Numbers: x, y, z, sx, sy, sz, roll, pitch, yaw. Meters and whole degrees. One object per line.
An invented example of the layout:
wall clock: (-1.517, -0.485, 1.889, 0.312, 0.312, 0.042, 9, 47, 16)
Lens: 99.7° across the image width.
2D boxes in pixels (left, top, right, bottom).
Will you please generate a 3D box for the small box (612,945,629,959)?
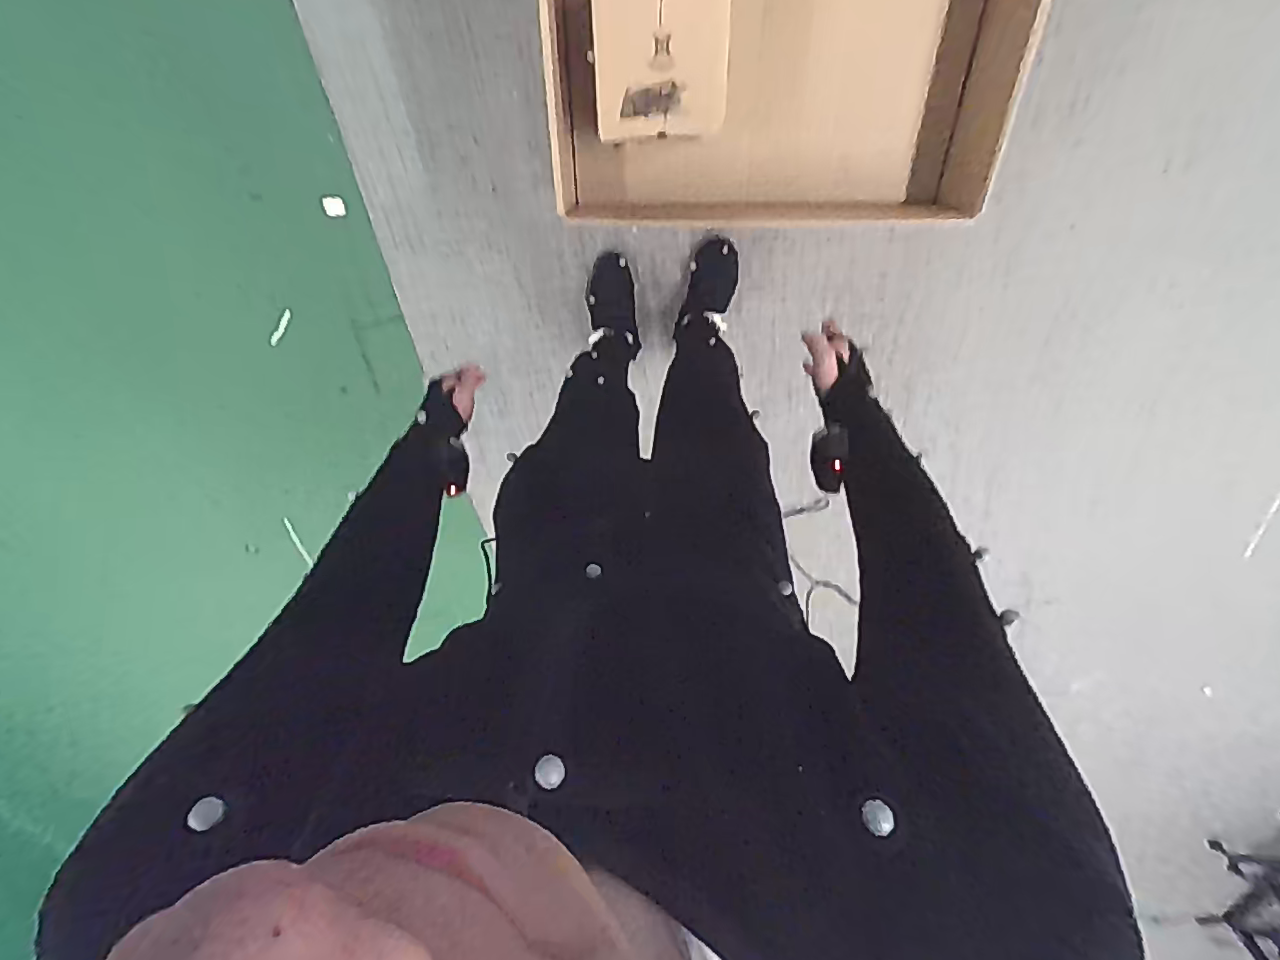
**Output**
small box: (-0.131, 1.841, 1.984, 0.168, 0.176, 0.179, -8, 122, 5)

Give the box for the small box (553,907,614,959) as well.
small box: (-0.181, 1.548, 1.789, 0.168, 0.176, 0.179, -6, 123, 5)

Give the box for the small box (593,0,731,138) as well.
small box: (0.031, -0.570, 0.729, 0.168, 0.176, 0.179, 0, 123, 3)
